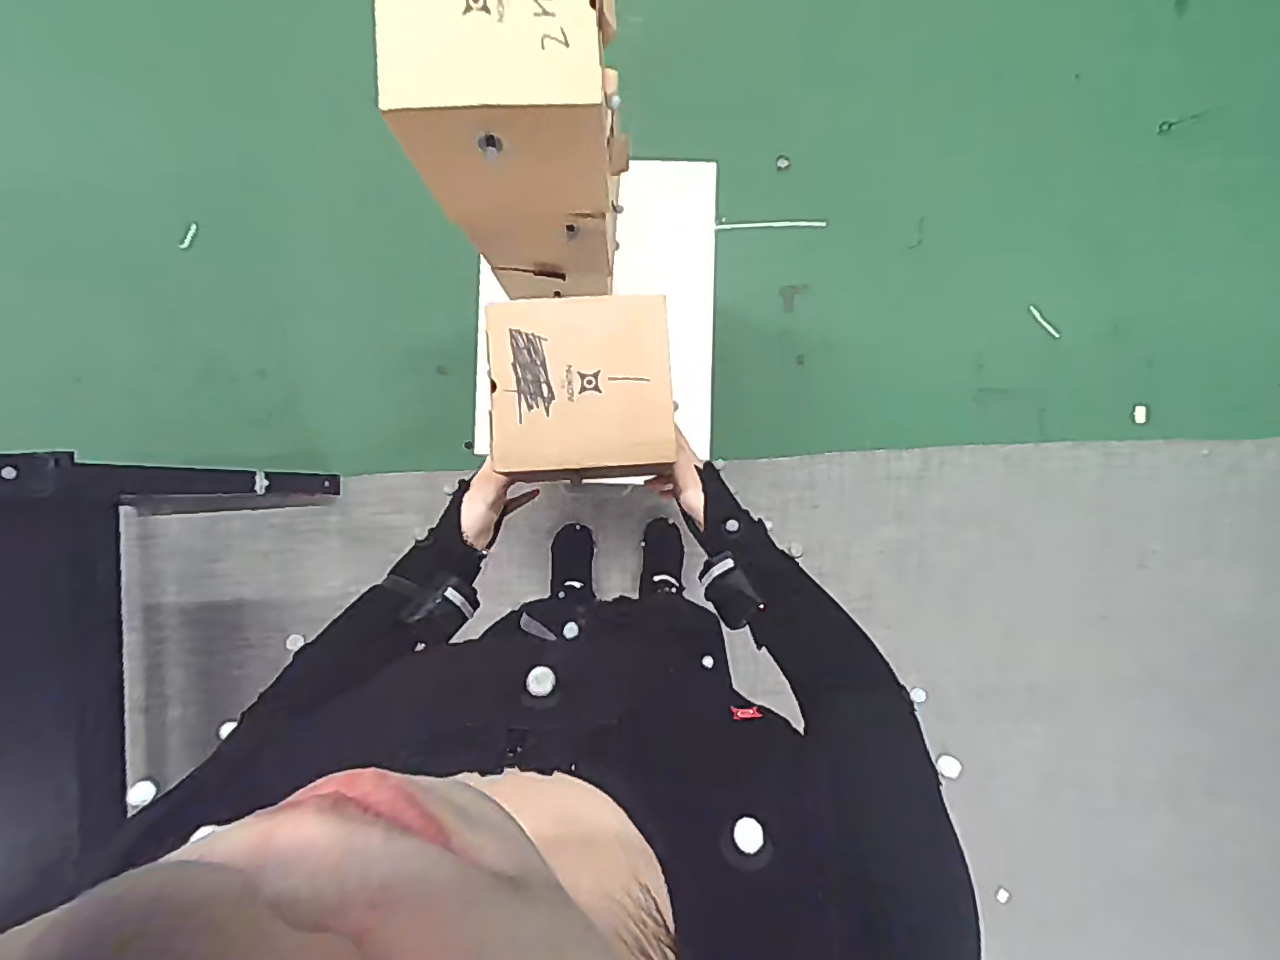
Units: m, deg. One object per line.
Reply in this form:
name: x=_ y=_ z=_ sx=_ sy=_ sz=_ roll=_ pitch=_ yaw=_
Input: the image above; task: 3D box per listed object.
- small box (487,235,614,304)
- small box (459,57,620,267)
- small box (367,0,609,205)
small box: x=-0.125 y=-0.375 z=0.814 sx=0.168 sy=0.176 sz=0.179 roll=2 pitch=90 yaw=-1
small box: x=-0.118 y=-0.373 z=0.652 sx=0.179 sy=0.176 sz=0.168 roll=5 pitch=89 yaw=-2
small box: x=-0.121 y=-0.369 z=0.487 sx=0.179 sy=0.176 sz=0.168 roll=-3 pitch=90 yaw=-2
